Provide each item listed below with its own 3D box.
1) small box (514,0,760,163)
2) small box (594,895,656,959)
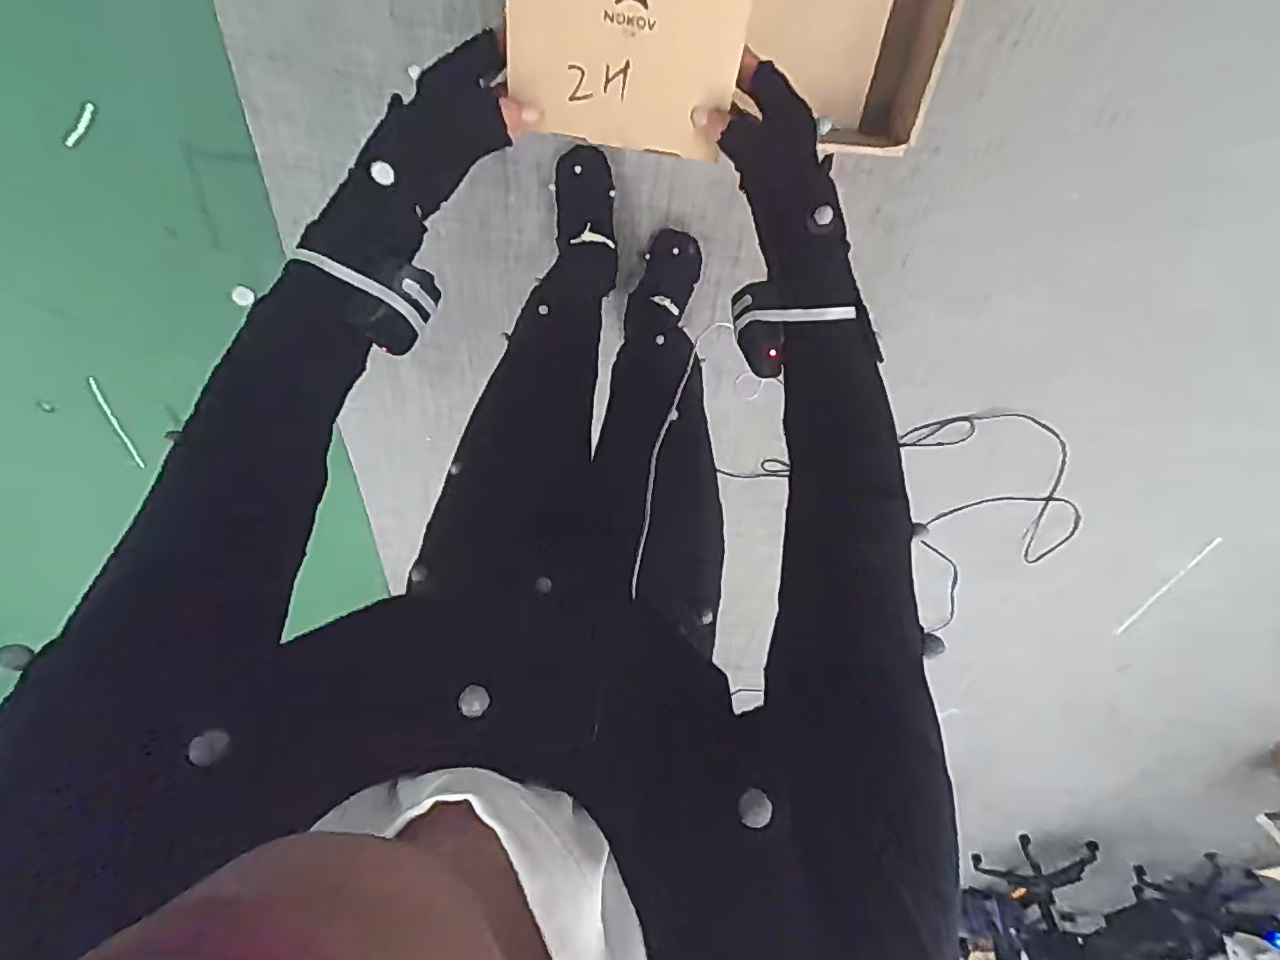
[{"bbox_3d":[-0.003,-0.380,0.418,0.168,0.176,0.179,6,136,-7],"label":"small box"},{"bbox_3d":[-0.045,1.435,1.693,0.168,0.176,0.179,11,129,-4],"label":"small box"}]
